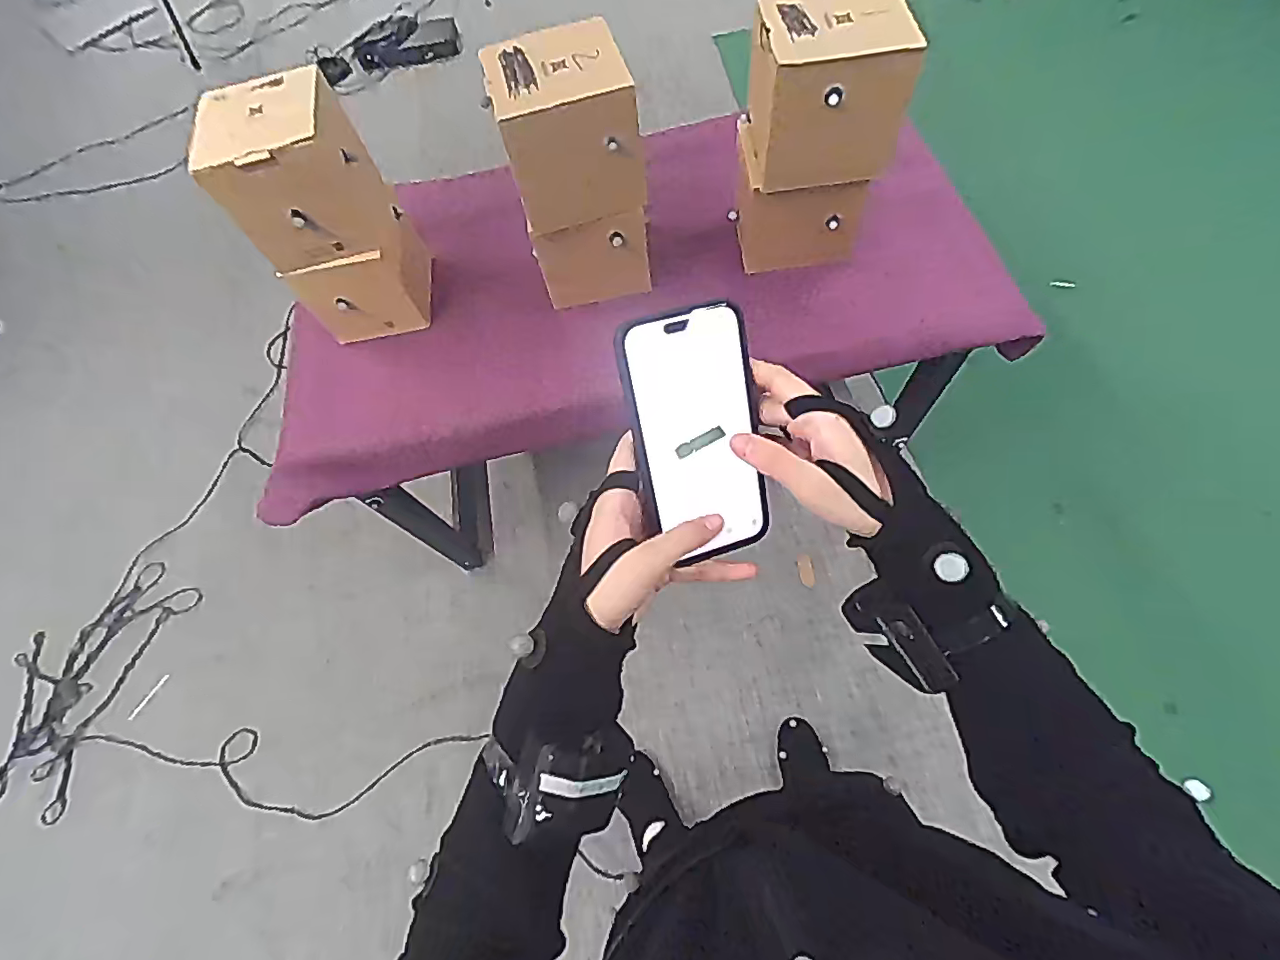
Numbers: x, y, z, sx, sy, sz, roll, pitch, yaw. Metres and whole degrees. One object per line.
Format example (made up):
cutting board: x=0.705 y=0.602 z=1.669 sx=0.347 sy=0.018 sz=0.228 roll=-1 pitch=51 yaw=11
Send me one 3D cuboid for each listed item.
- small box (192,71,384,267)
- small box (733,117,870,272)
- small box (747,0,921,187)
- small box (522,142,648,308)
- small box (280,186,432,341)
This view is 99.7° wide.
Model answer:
small box: x=-0.491 y=-0.434 z=0.781 sx=0.168 sy=0.176 sz=0.179 roll=-15 pitch=65 yaw=-1
small box: x=0.251 y=-0.470 z=0.887 sx=0.179 sy=0.176 sz=0.168 roll=-6 pitch=64 yaw=5
small box: x=0.243 y=-0.528 z=0.733 sx=0.179 sy=0.176 sz=0.168 roll=-6 pitch=64 yaw=4
small box: x=-0.085 y=-0.417 z=0.903 sx=0.179 sy=0.176 sz=0.168 roll=-11 pitch=64 yaw=2
small box: x=-0.471 y=-0.358 z=0.925 sx=0.168 sy=0.176 sz=0.179 roll=-11 pitch=64 yaw=2
